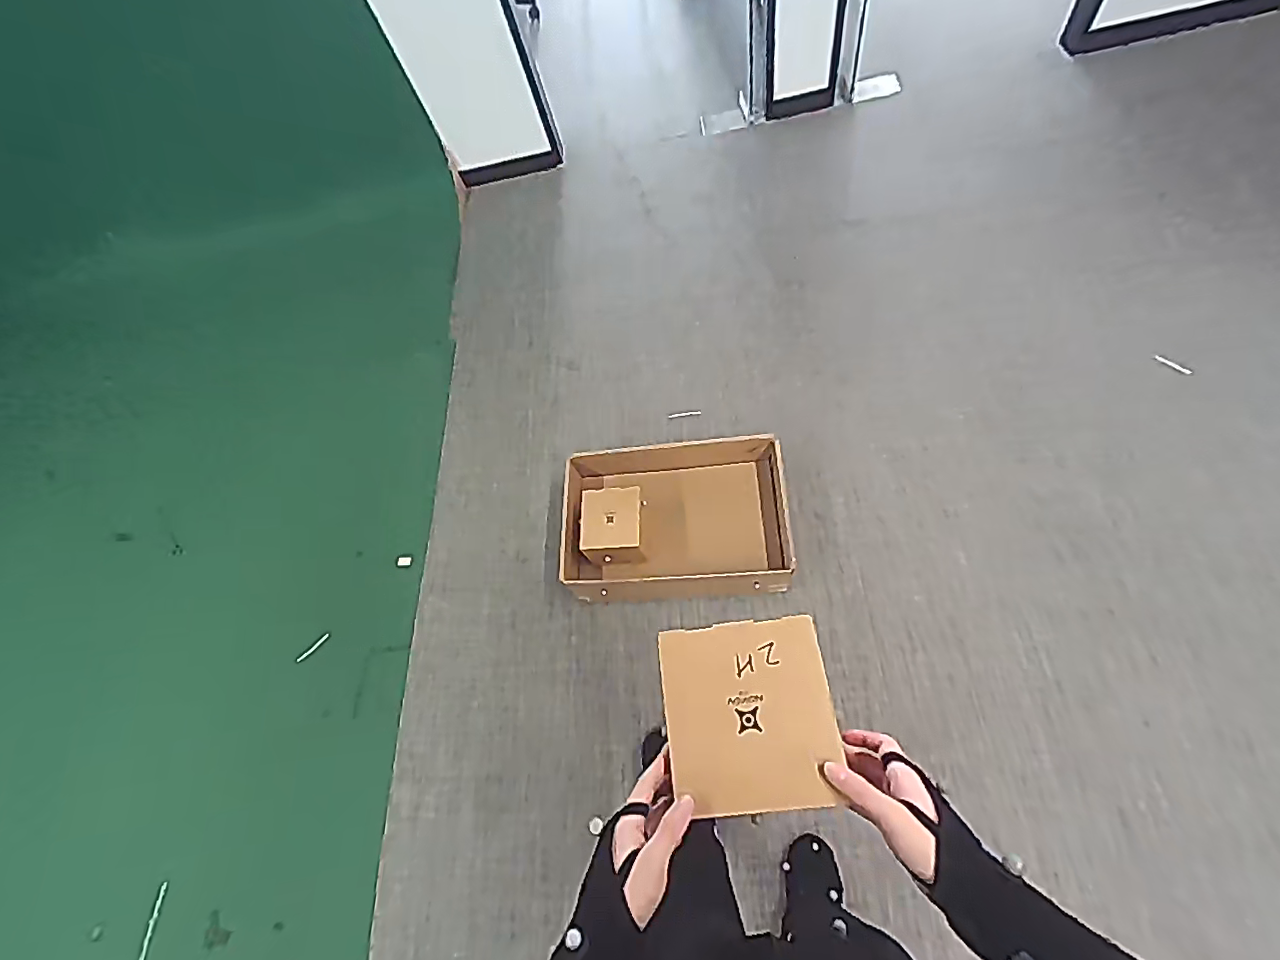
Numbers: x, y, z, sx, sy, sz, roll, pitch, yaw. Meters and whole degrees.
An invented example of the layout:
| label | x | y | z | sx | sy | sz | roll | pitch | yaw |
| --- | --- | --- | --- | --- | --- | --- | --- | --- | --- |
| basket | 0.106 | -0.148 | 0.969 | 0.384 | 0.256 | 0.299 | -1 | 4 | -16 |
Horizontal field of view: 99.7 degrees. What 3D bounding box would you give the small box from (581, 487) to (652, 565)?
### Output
| label | x | y | z | sx | sy | sz | roll | pitch | yaw |
| --- | --- | --- | --- | --- | --- | --- | --- | --- | --- |
| small box | -0.061 | 0.137 | 1.531 | 0.168 | 0.176 | 0.179 | -5 | 63 | 10 |
